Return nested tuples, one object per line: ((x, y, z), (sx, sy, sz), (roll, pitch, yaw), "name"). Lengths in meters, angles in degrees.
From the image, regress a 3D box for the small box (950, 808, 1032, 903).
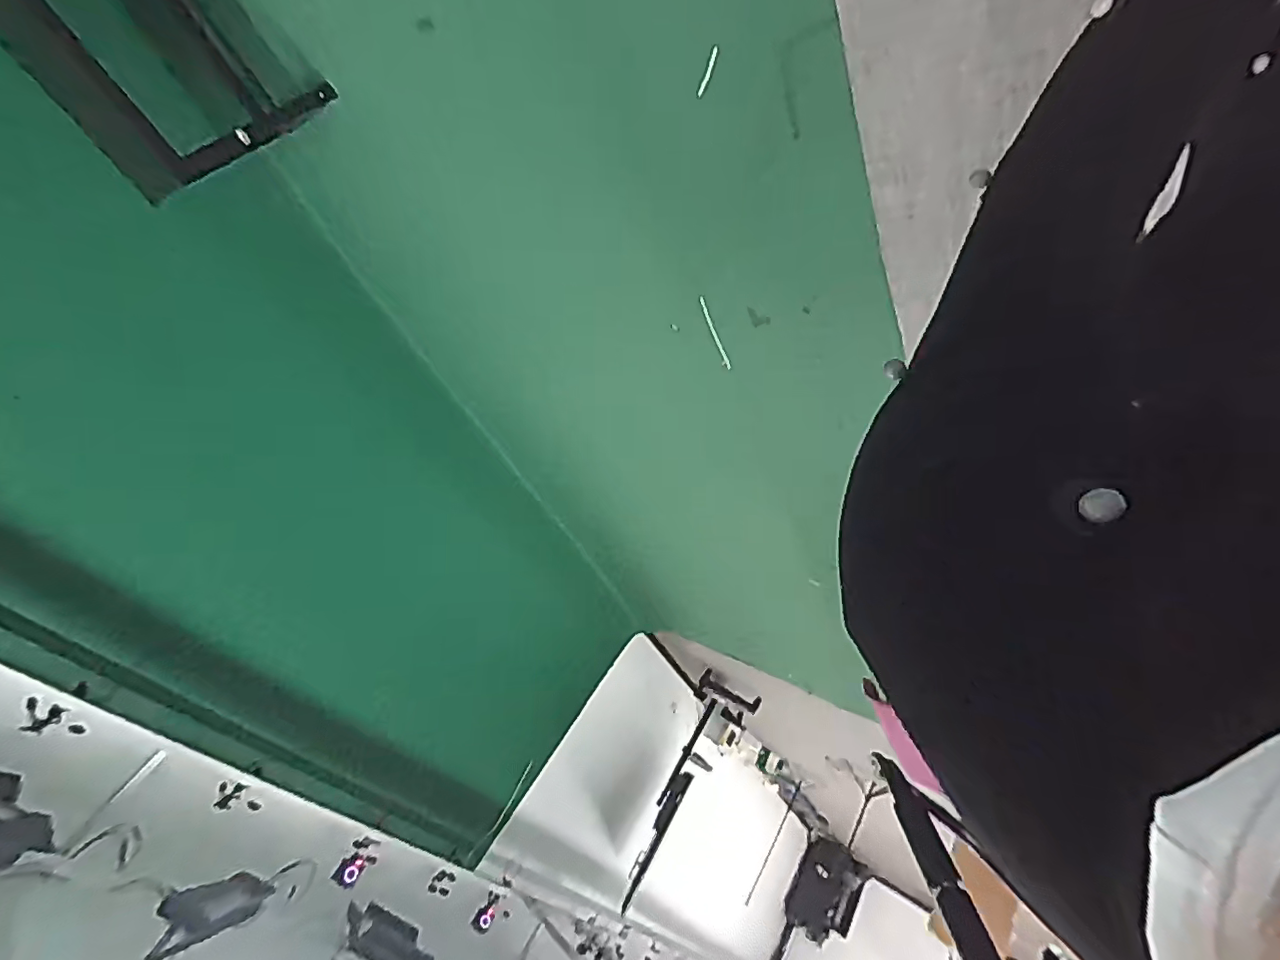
((1.035, 1.111, 1.597), (0.179, 0.176, 0.168), (13, 145, 38), "small box")

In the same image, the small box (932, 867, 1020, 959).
((0.946, 1.232, 1.528), (0.179, 0.176, 0.168), (13, 146, 39), "small box")

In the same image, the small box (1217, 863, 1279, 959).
((1.500, 1.044, 1.275), (0.179, 0.176, 0.168), (5, 140, 48), "small box")
